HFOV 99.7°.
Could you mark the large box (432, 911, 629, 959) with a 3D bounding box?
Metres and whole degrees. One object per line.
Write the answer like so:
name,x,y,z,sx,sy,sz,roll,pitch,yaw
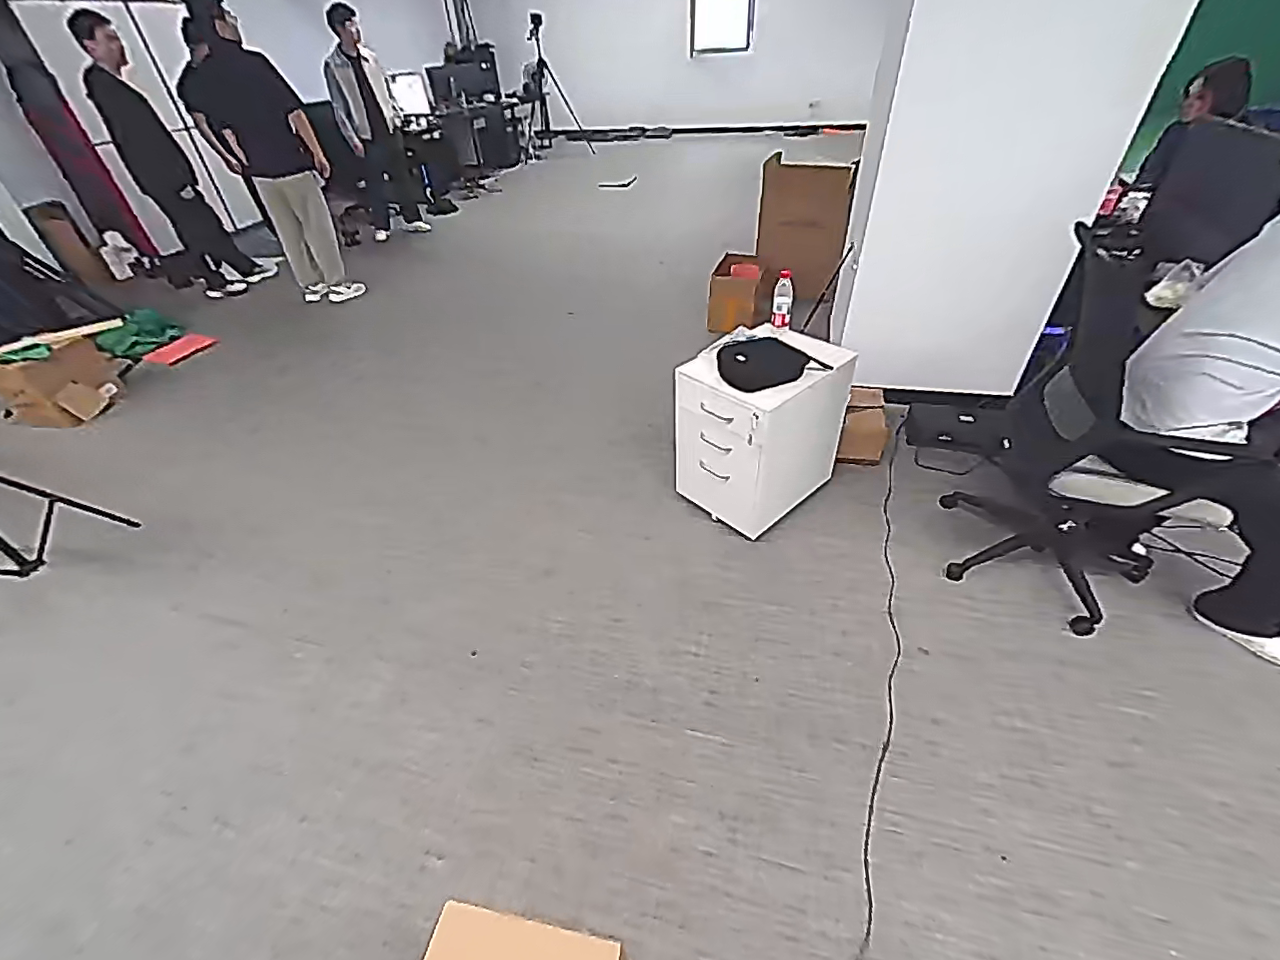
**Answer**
large box,-0.192,0.980,0.910,0.320,0.408,0.320,6,43,11
